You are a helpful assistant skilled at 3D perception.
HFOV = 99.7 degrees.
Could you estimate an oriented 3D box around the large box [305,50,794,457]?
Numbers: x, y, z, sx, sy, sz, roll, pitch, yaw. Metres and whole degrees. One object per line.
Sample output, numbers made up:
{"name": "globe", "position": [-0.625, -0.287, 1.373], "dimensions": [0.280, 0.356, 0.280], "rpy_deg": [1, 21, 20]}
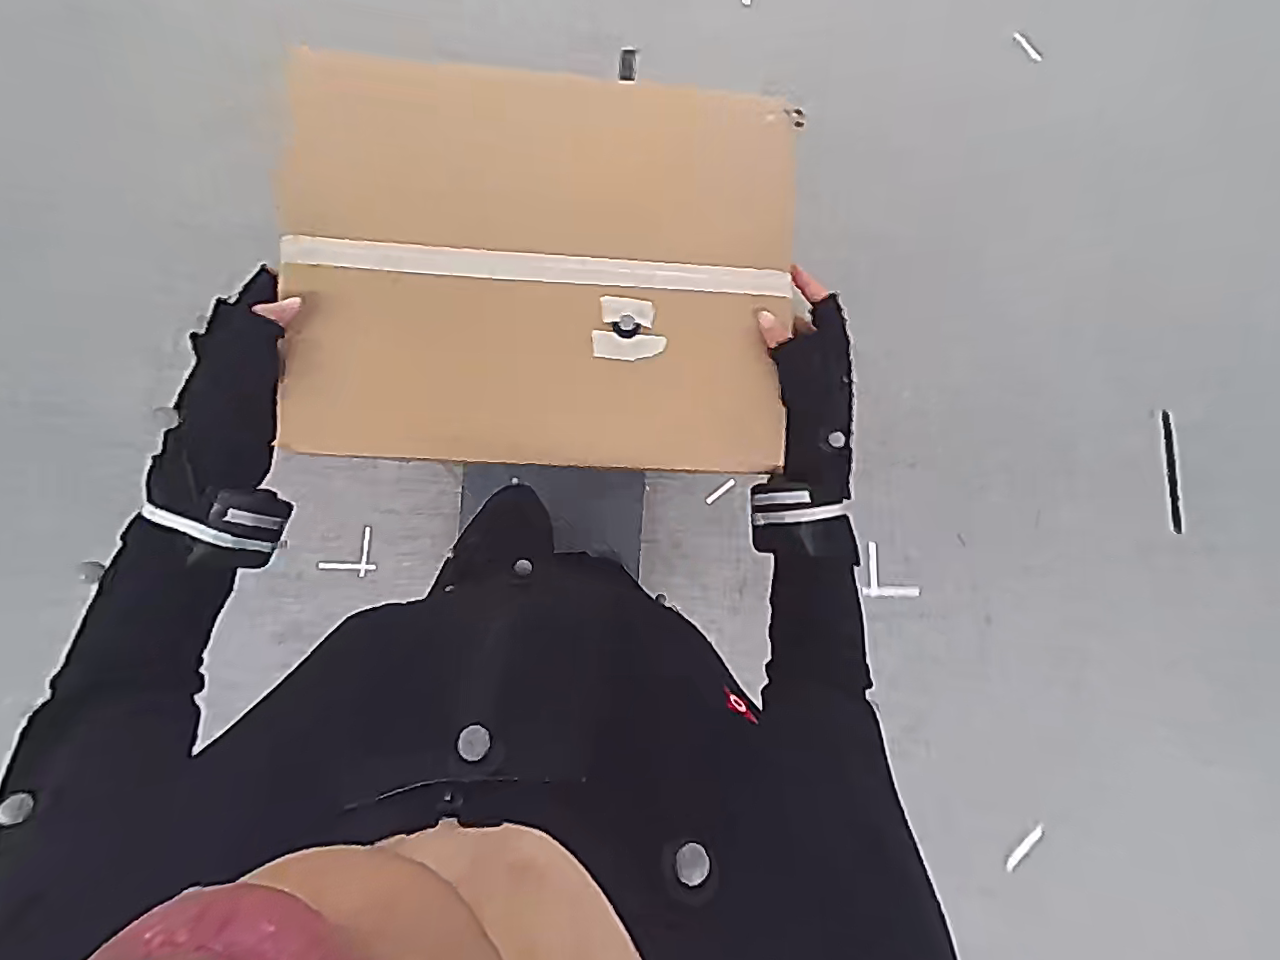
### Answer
{"name": "large box", "position": [-0.084, -0.188, 0.598], "dimensions": [0.408, 0.320, 0.320], "rpy_deg": [2, 91, -6]}
